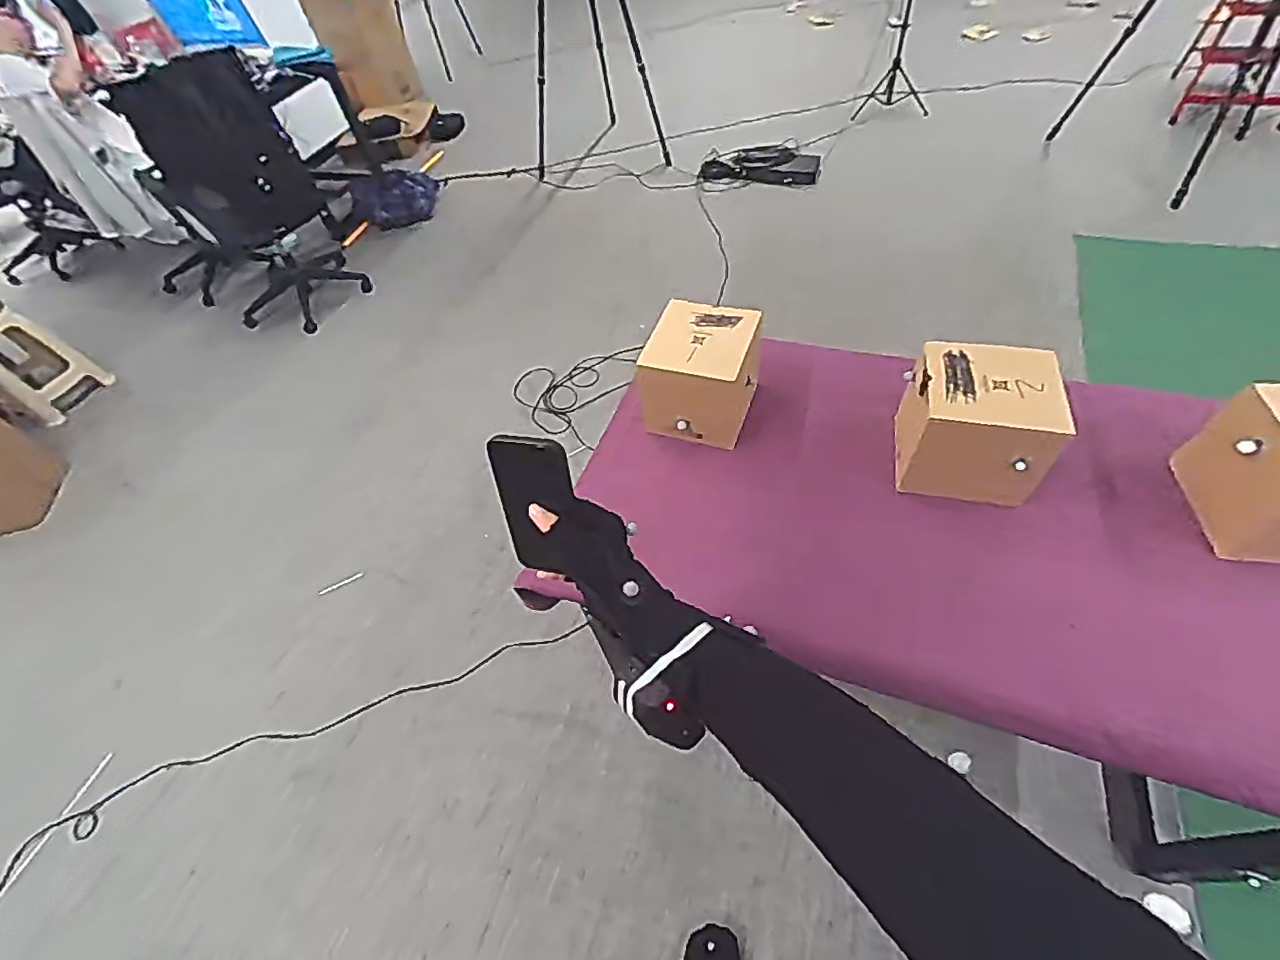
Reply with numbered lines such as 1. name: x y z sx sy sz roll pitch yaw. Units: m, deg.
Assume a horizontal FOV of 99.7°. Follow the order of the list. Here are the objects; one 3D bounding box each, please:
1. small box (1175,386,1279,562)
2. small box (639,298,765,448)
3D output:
1. small box: 0.863 0.001 0.696 0.168 0.176 0.179 4 53 12
2. small box: 0.110 -0.186 0.943 0.168 0.176 0.179 14 58 18
